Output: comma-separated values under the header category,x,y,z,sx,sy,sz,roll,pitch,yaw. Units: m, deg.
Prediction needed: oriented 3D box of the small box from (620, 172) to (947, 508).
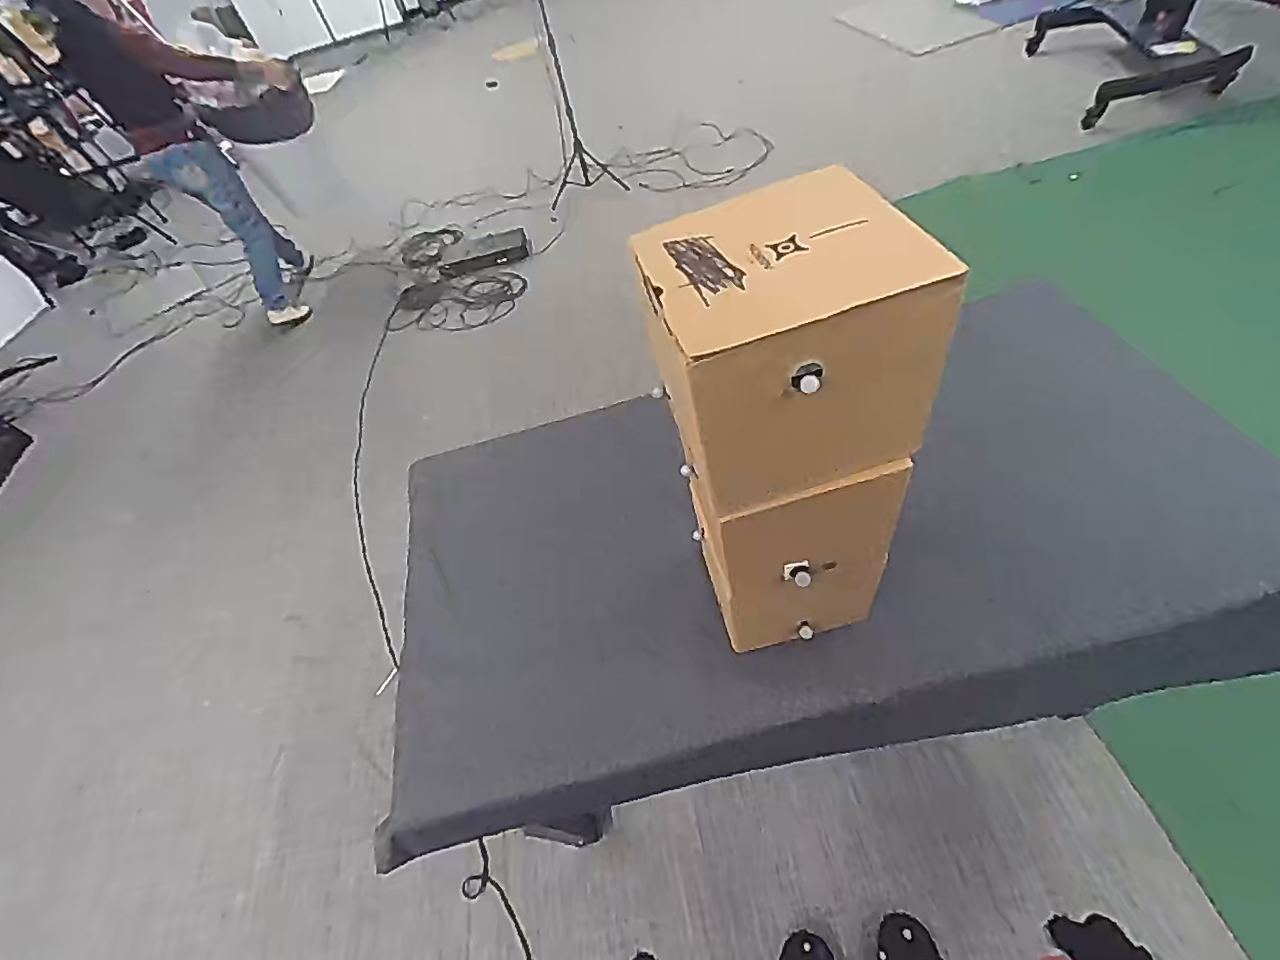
category,x,y,z,sx,sy,sz,roll,pitch,yaw
small box,0.100,-0.102,0.427,0.179,0.176,0.168,-17,51,2

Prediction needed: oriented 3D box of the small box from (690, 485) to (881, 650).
category,x,y,z,sx,sy,sz,roll,pitch,yaw
small box,0.171,0.093,0.680,0.179,0.176,0.168,-15,51,2

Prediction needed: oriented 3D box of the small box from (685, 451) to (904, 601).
category,x,y,z,sx,sy,sz,roll,pitch,yaw
small box,0.138,-0.003,0.553,0.168,0.176,0.179,-17,52,4
